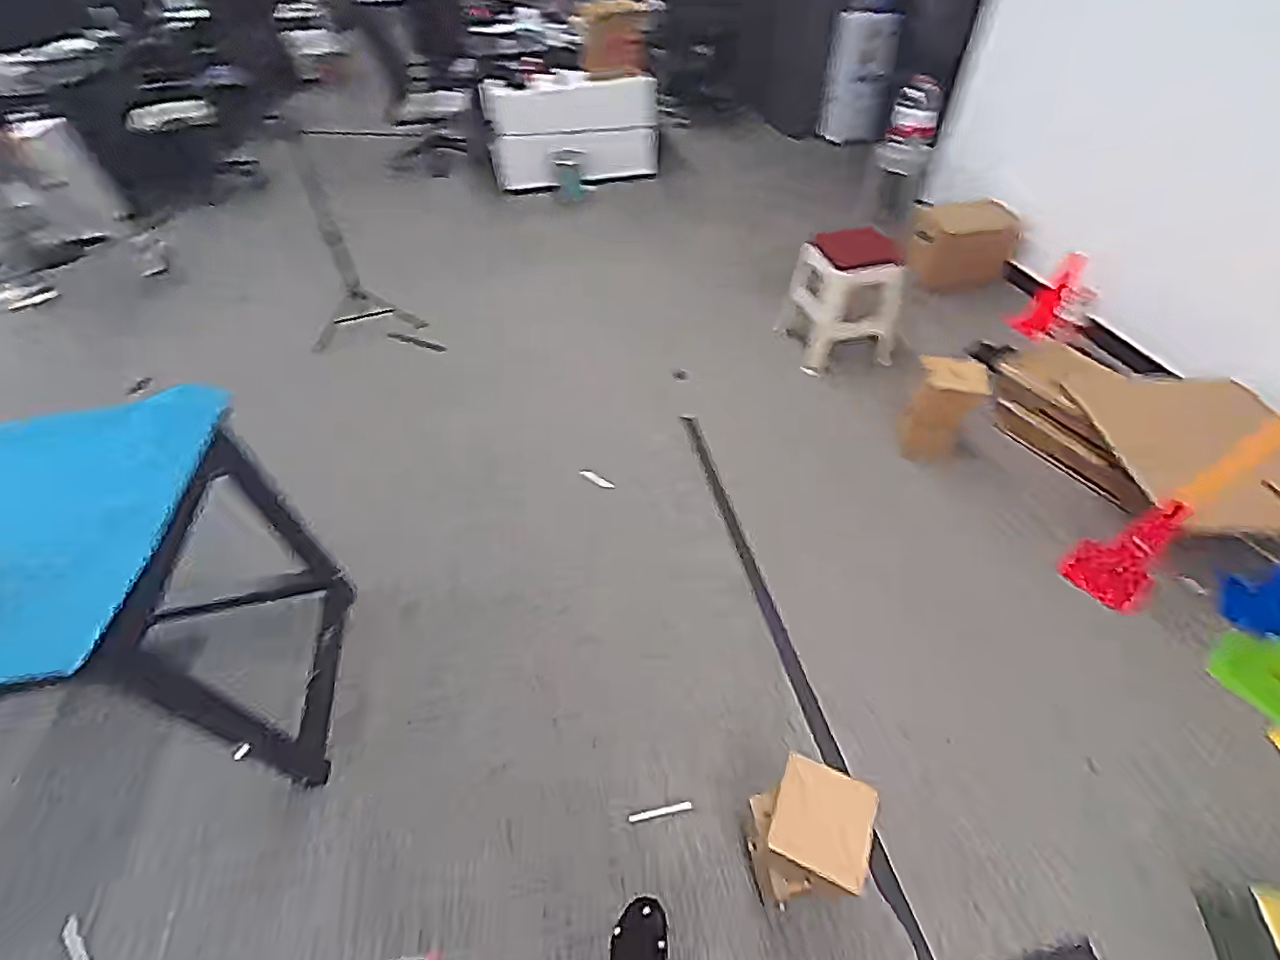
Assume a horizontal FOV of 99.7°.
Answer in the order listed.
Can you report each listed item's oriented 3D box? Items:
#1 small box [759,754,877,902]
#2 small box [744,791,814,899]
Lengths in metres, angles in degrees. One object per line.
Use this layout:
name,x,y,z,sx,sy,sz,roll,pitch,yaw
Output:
small box,0.341,0.669,1.046,0.168,0.176,0.179,19,51,17
small box,0.334,0.783,1.169,0.168,0.176,0.179,-8,47,-5
